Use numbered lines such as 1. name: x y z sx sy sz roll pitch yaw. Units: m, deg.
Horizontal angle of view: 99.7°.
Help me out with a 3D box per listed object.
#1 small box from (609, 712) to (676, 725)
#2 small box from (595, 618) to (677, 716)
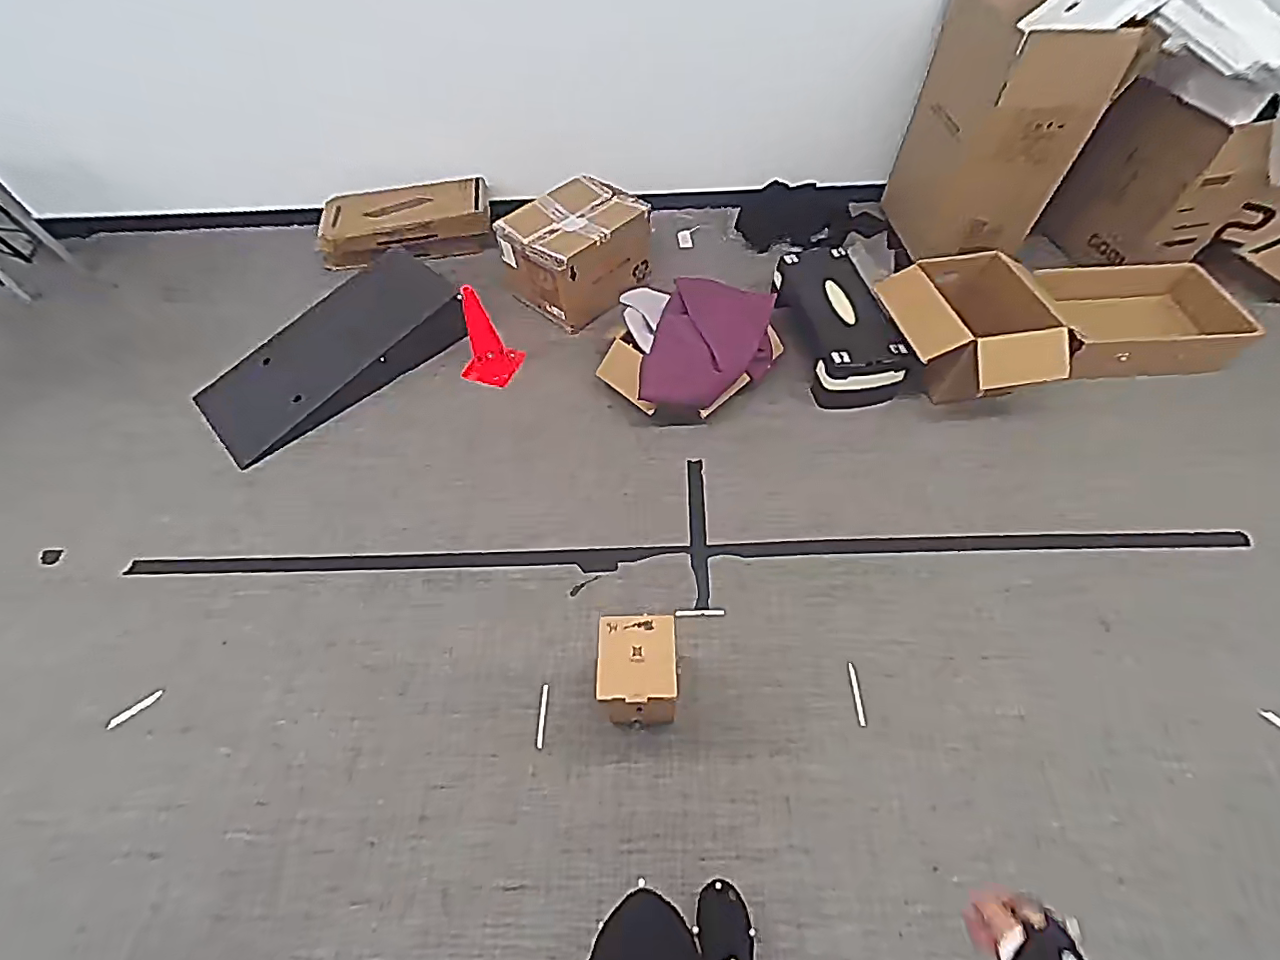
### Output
1. small box: 0.002 0.495 1.335 0.168 0.176 0.179 -3 56 2
2. small box: -0.003 0.416 1.191 0.168 0.176 0.179 -2 56 3
